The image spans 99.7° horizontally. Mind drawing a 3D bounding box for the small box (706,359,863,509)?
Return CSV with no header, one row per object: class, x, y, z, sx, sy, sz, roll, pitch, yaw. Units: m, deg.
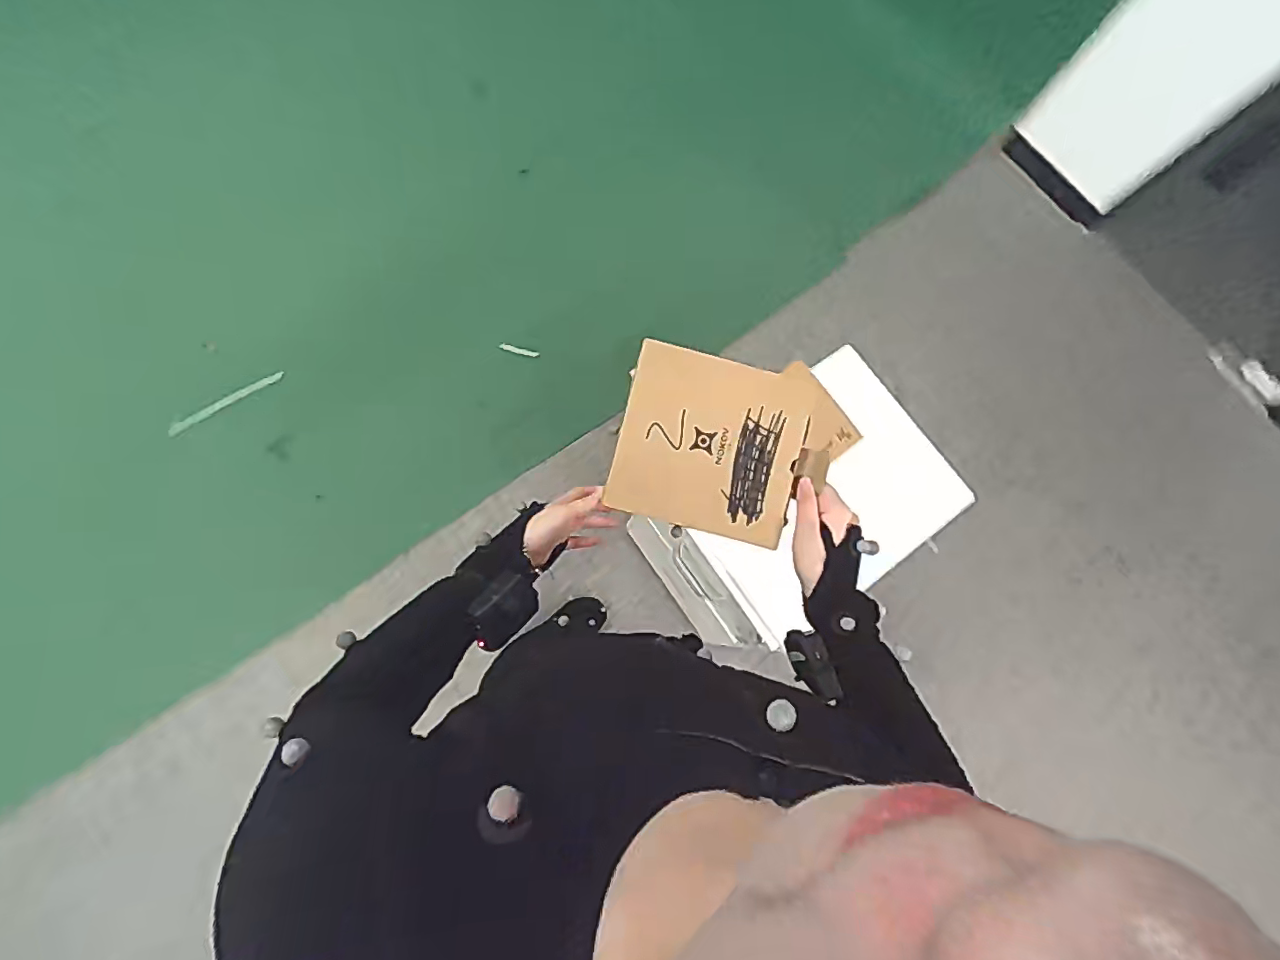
small box,0.242,-0.073,0.954,0.168,0.176,0.179,-33,82,-15
